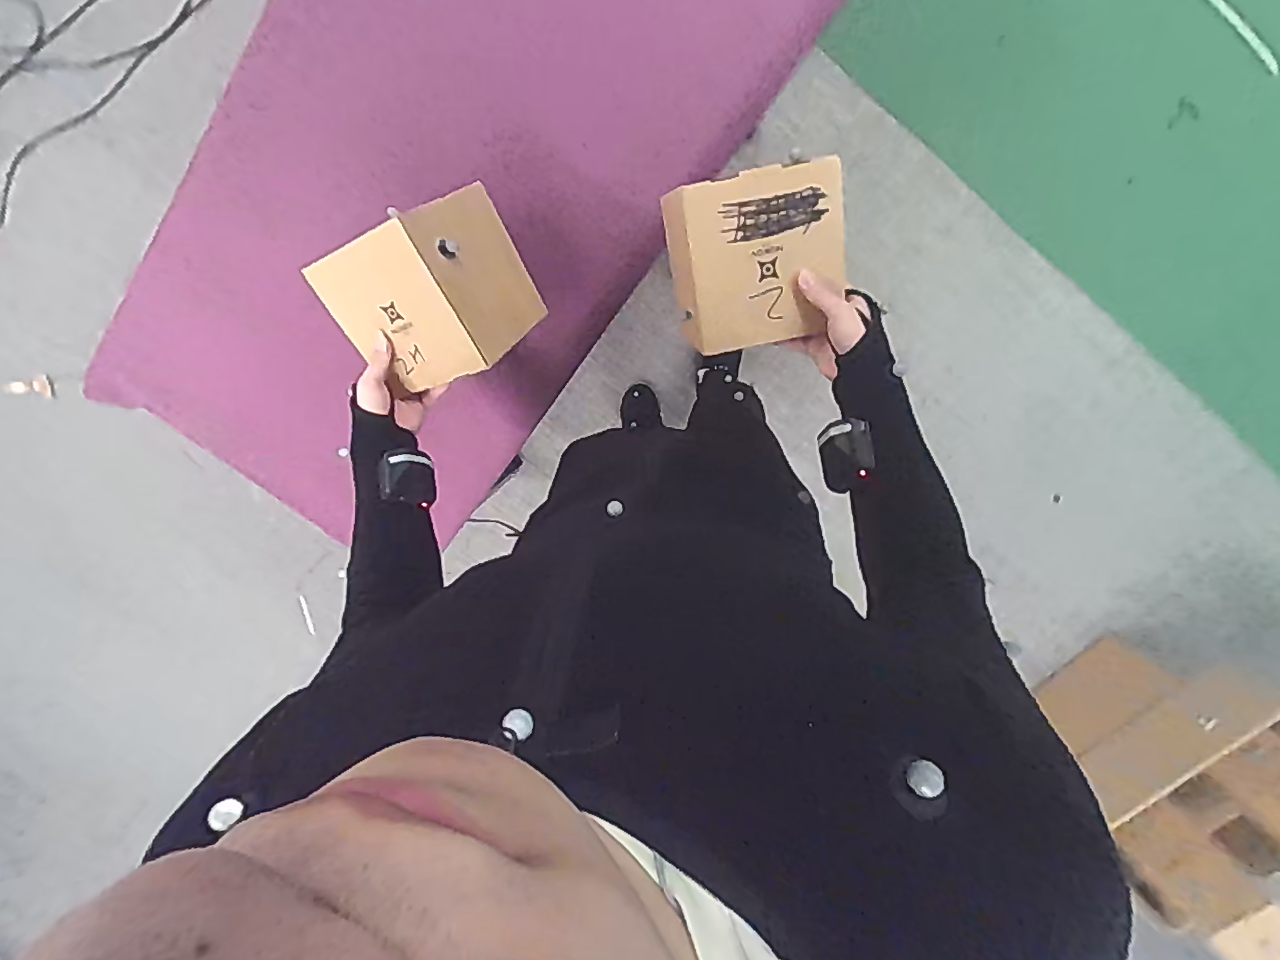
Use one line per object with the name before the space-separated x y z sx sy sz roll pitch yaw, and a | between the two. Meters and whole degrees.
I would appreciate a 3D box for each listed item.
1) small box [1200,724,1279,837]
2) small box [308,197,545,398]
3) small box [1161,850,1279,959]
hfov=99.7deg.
small box | 1.544 0.733 1.306 0.179 0.176 0.168 -41 98 11
small box | -0.250 -0.231 0.673 0.168 0.176 0.179 -9 123 28
small box | 1.333 0.968 1.196 0.168 0.176 0.179 -43 99 11
